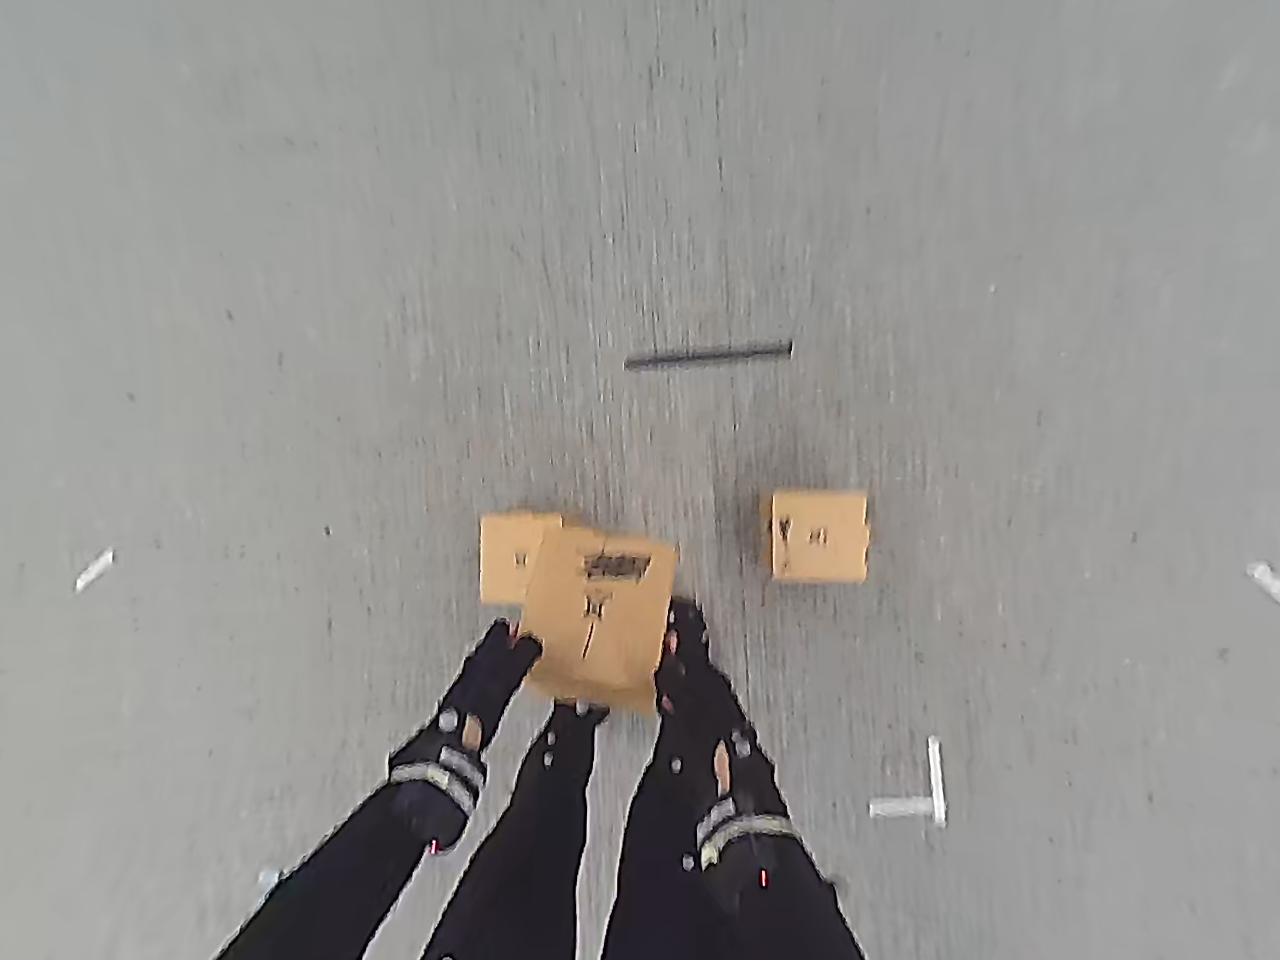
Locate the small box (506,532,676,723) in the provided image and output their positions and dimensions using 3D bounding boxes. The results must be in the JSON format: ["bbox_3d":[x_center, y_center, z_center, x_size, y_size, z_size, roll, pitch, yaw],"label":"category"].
[{"bbox_3d":[-0.052,0.189,0.679,0.168,0.176,0.179,8,58,5],"label":"small box"}]

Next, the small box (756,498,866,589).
[{"bbox_3d":[0.337,0.122,1.089,0.179,0.176,0.168,0,89,3],"label":"small box"}]

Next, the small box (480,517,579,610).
[{"bbox_3d":[-0.223,0.169,1.132,0.168,0.176,0.179,0,90,6],"label":"small box"}]
